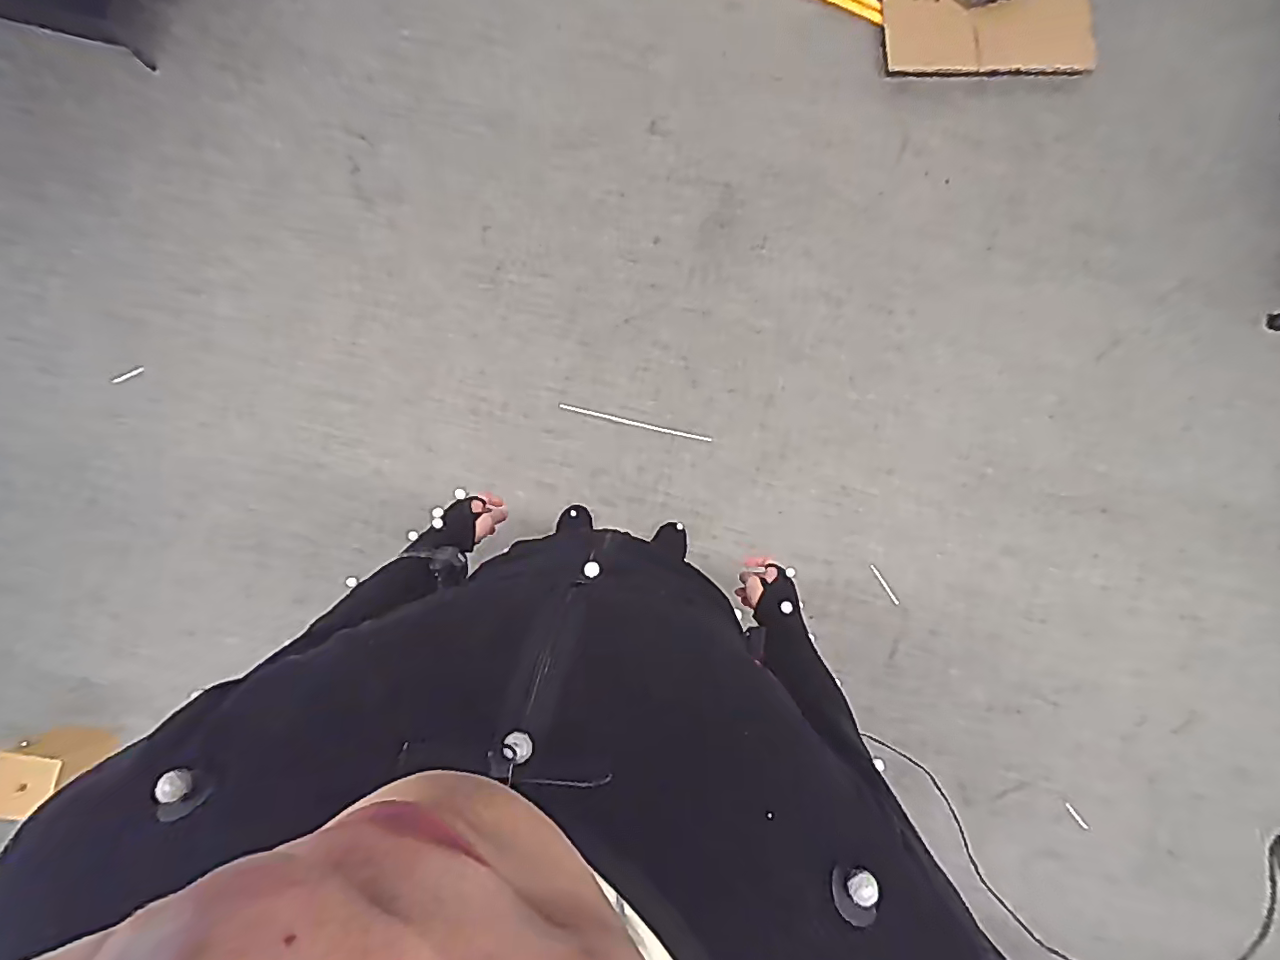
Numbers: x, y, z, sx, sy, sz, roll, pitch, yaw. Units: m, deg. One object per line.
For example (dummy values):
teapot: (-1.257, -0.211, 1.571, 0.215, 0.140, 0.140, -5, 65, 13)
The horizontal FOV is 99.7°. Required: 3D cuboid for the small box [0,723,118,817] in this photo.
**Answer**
small box: (-1.613, 0.792, 1.493, 0.179, 0.176, 0.168, 9, 86, 0)
